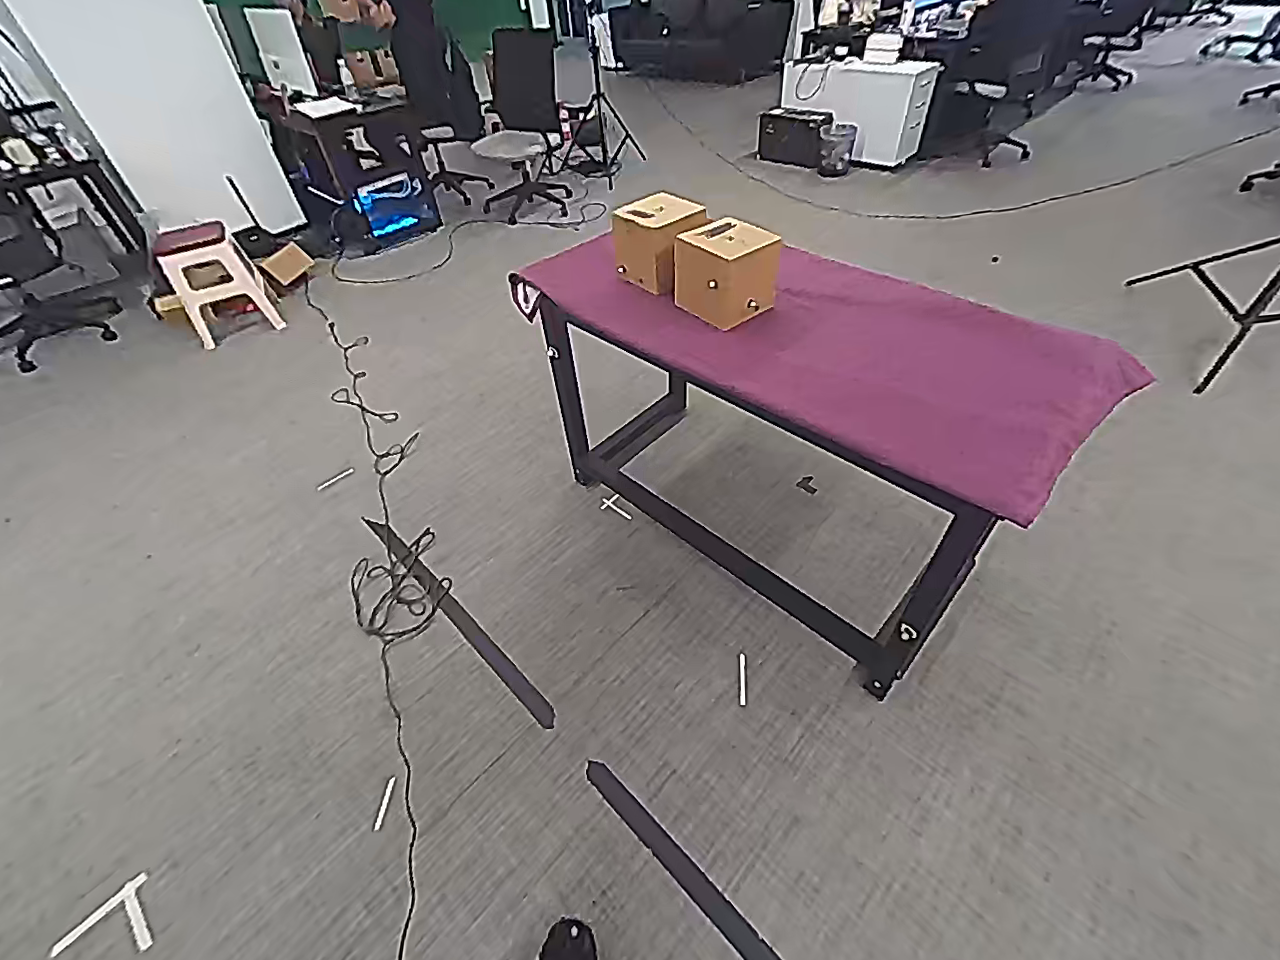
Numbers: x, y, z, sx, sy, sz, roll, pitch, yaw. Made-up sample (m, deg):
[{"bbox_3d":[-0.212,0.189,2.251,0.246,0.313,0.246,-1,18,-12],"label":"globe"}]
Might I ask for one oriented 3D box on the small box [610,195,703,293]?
[{"bbox_3d":[0.047,-0.606,1.395,0.179,0.176,0.168,-33,53,-25],"label":"small box"}]
